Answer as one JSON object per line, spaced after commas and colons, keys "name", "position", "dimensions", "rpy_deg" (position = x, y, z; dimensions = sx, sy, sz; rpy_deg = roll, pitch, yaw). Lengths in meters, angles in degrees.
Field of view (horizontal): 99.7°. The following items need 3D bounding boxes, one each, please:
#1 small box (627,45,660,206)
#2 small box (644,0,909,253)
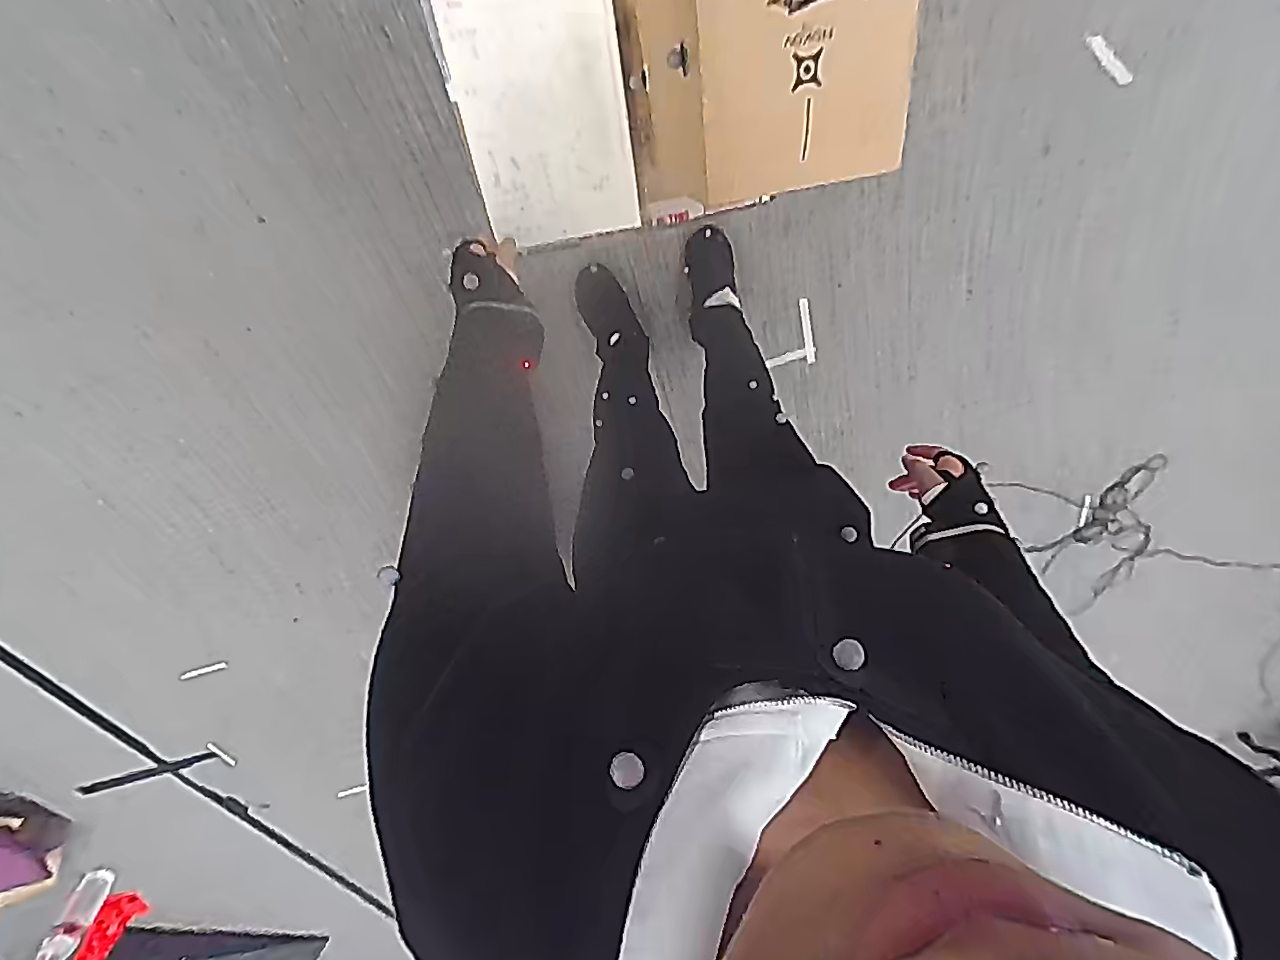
{"name": "small box", "position": [0.094, -0.415, 0.613], "dimensions": [0.179, 0.176, 0.168], "rpy_deg": [-15, 124, -1]}
{"name": "small box", "position": [0.104, -0.319, 0.478], "dimensions": [0.168, 0.176, 0.179], "rpy_deg": [-12, 125, -4]}
